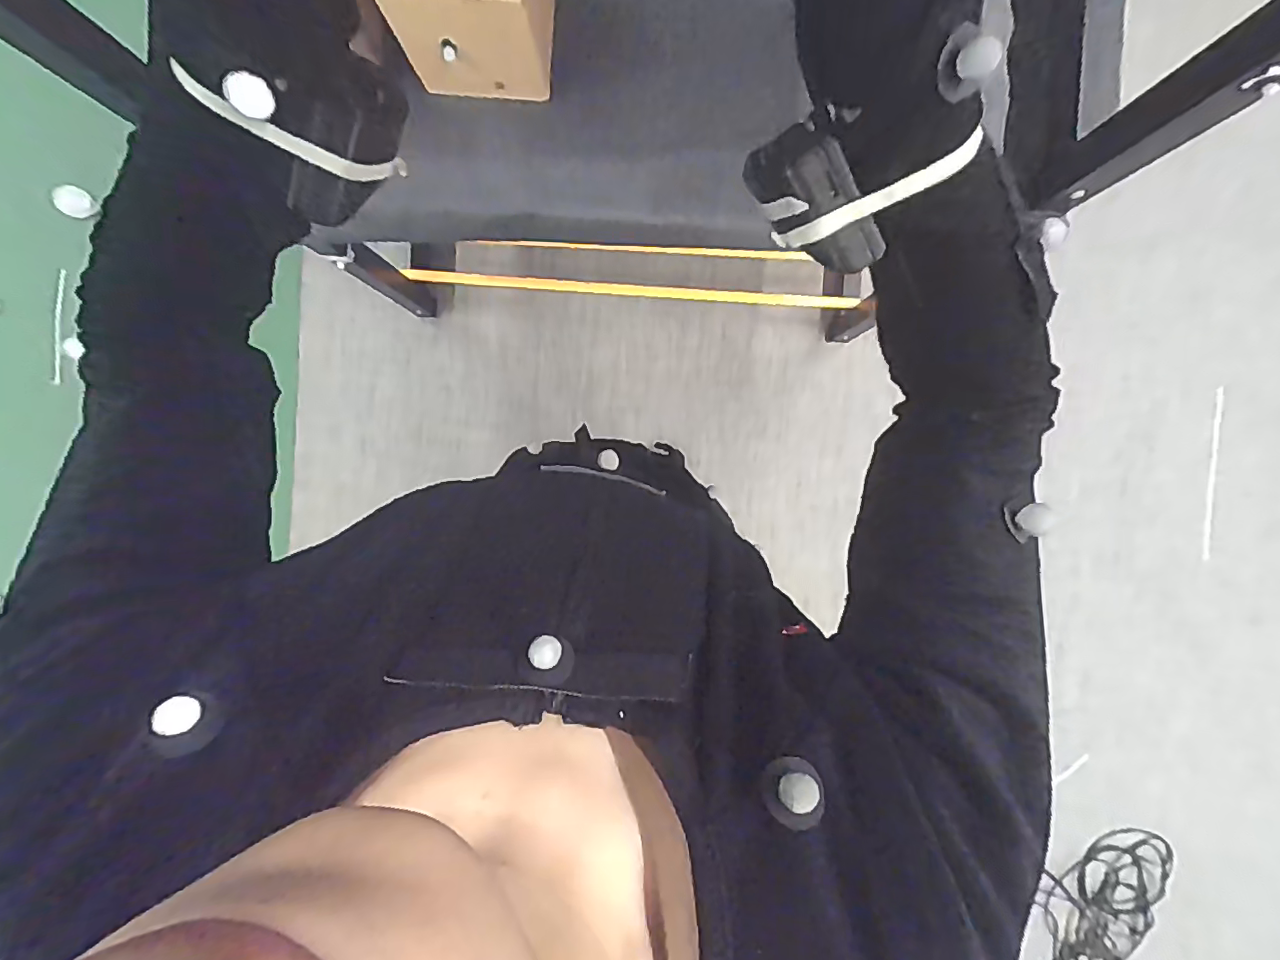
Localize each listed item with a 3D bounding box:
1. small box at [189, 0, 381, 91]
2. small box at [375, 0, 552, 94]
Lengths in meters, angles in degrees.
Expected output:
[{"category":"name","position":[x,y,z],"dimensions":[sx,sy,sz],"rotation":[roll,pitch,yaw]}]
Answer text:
[{"category":"small box","position":[-0.428,-0.612,0.645],"dimensions":[0.168,0.176,0.179],"rotation":[1,92,0]},{"category":"small box","position":[-0.202,-0.605,0.648],"dimensions":[0.168,0.176,0.179],"rotation":[3,91,0]}]
